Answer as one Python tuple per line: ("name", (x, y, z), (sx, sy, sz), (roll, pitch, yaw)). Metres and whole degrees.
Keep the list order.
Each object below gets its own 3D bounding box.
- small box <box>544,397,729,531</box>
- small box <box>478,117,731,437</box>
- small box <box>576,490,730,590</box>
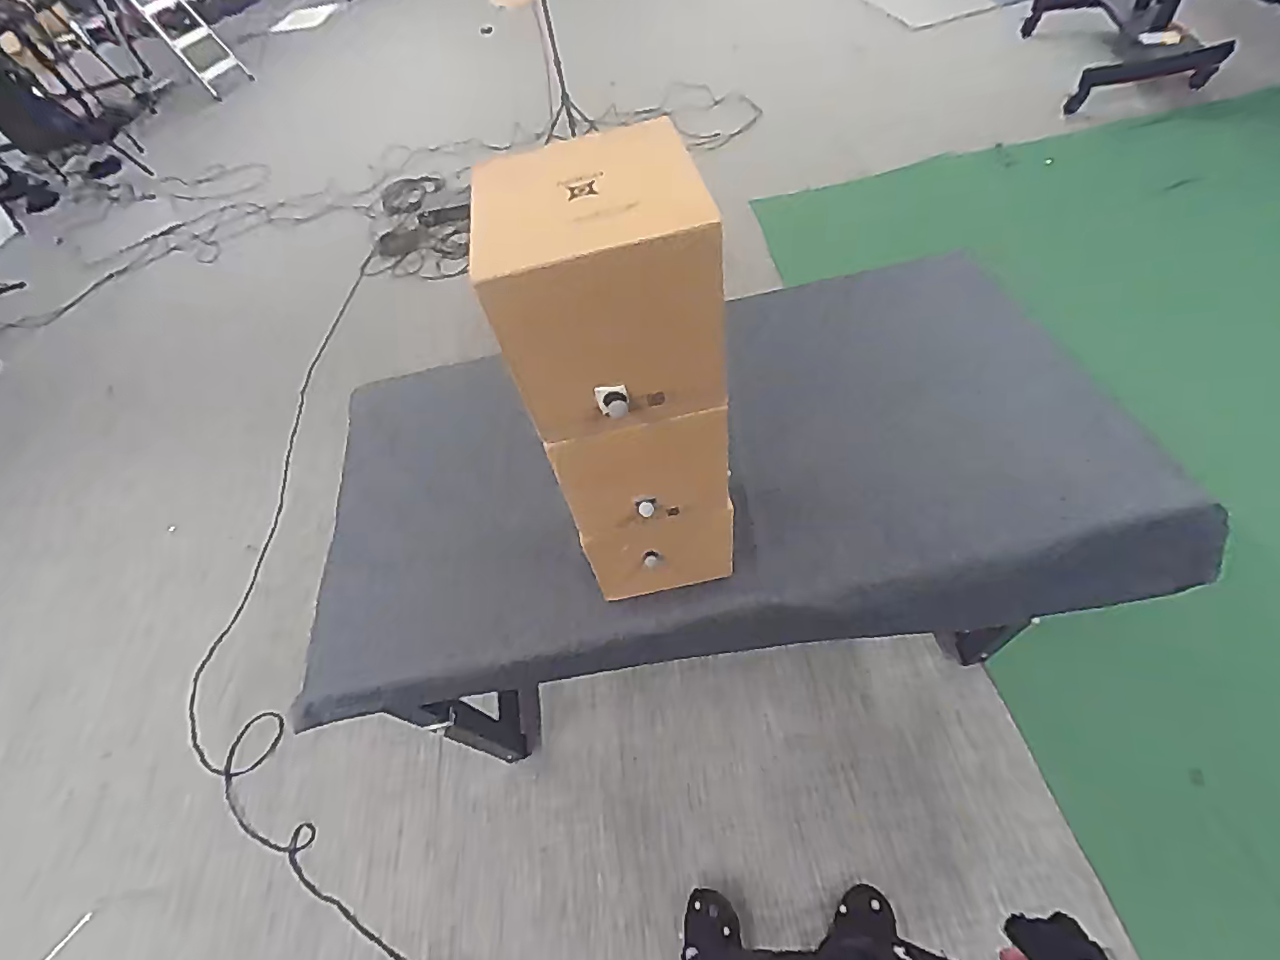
("small box", (-0.005, -0.070, 0.585), (0.168, 0.176, 0.179), (-11, 54, 1))
("small box", (-0.025, -0.165, 0.456), (0.168, 0.176, 0.179), (-13, 54, 1))
("small box", (0.017, 0.029, 0.715), (0.179, 0.176, 0.168), (-12, 54, 1))
